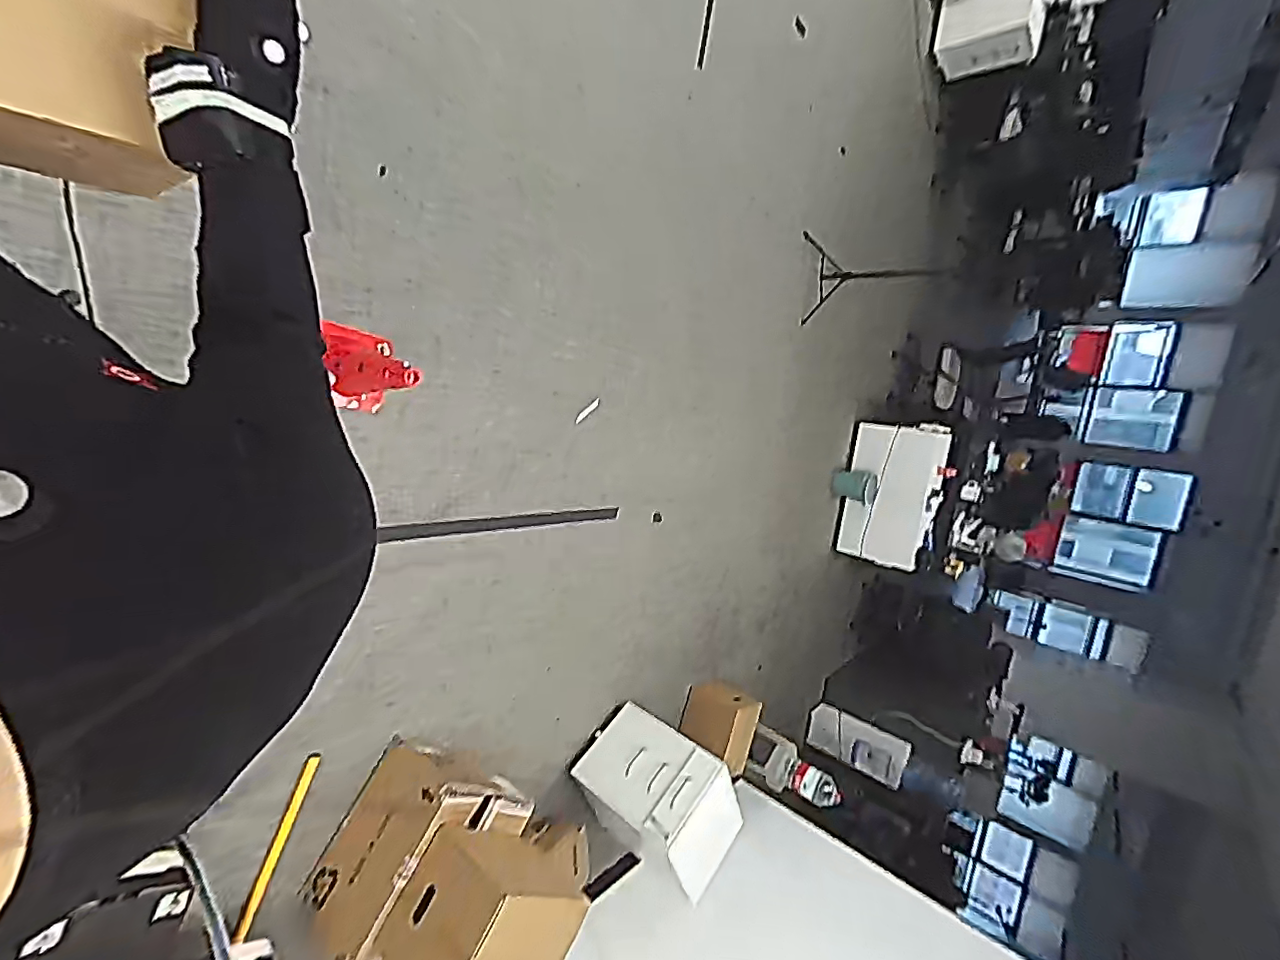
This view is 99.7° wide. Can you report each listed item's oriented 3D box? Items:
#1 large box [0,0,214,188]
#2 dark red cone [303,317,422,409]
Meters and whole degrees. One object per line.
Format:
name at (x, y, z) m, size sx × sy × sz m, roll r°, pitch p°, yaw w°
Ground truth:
large box at (-0.564, -0.420, 0.339) m, size 0.408 × 0.320 × 0.320 m, roll -8°, pitch 111°, yaw -49°
dark red cone at (-0.612, -0.255, 1.257) m, size 0.201 × 0.394 × 0.202 m, roll 8°, pitch 95°, yaw -49°
